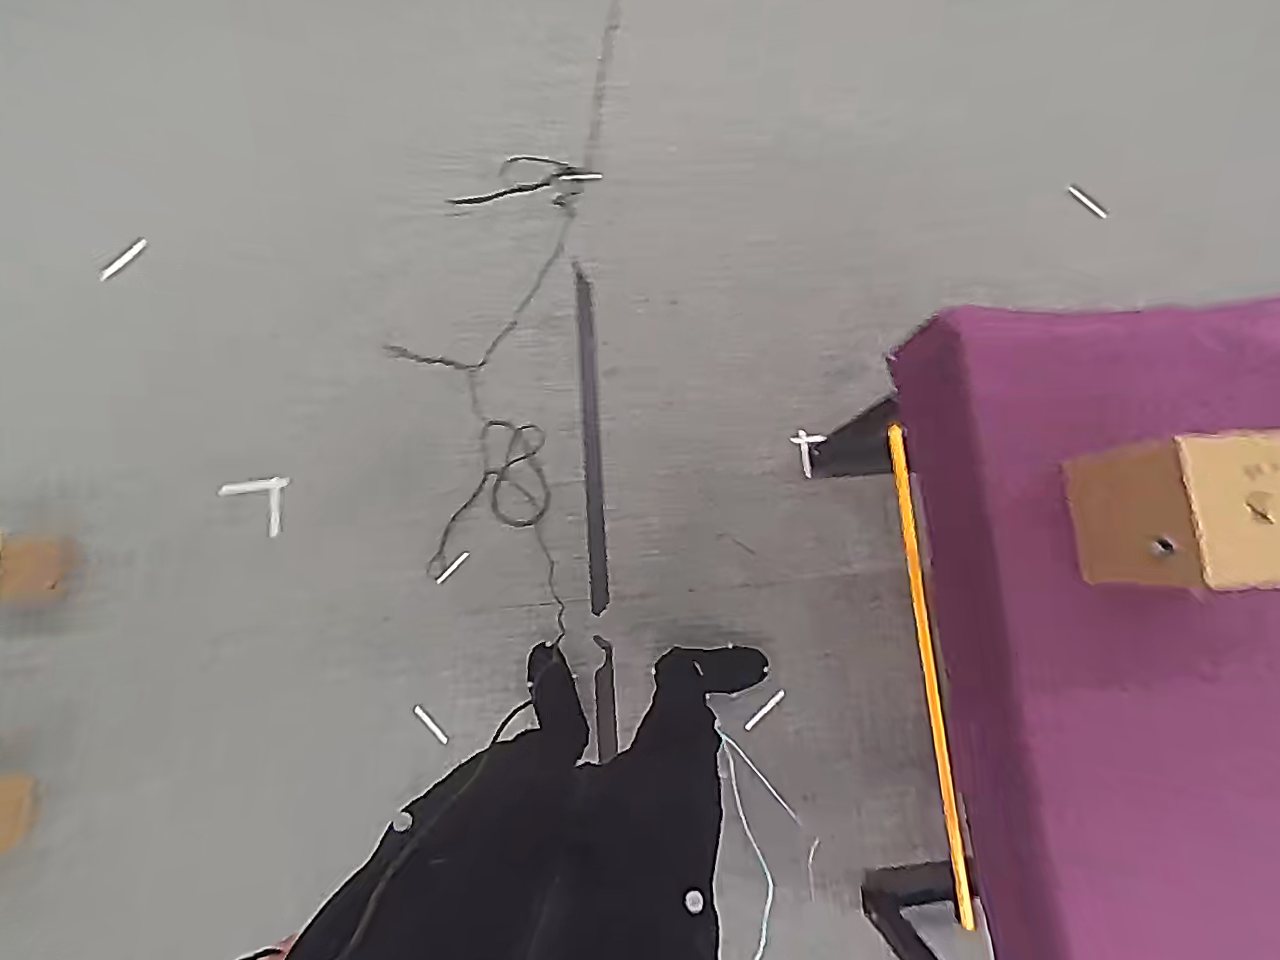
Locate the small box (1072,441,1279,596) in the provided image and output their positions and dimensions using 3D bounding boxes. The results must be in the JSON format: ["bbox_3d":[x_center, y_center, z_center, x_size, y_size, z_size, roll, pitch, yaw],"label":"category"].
[{"bbox_3d":[0.706,0.053,0.693,0.168,0.176,0.179,-1,81,-3],"label":"small box"}]
